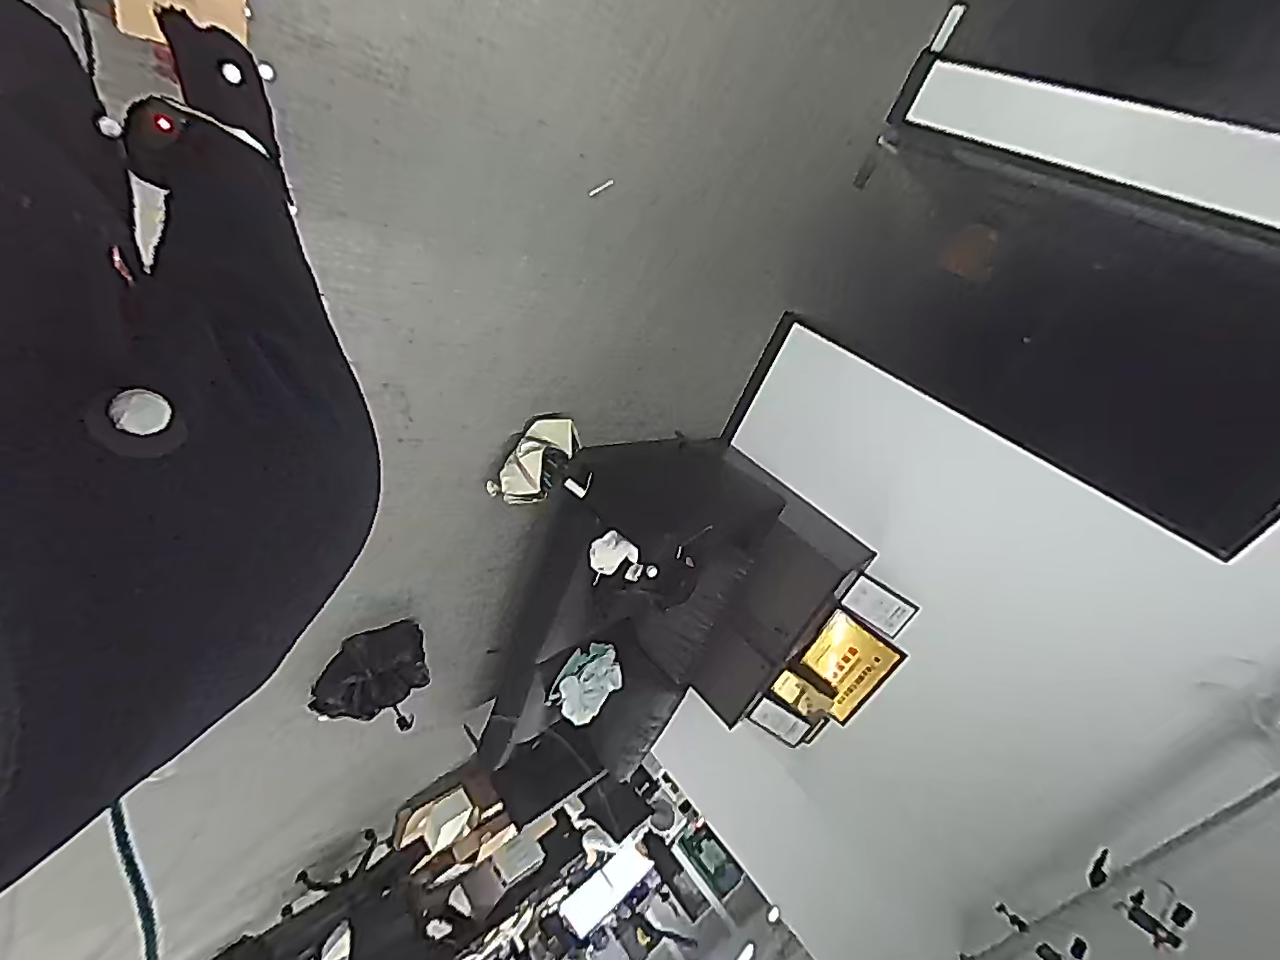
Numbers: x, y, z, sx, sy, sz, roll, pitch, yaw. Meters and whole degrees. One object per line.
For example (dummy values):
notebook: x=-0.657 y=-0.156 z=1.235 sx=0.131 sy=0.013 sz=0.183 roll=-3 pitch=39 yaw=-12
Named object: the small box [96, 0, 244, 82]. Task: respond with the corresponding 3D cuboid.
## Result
small box: x=-0.760 y=-0.790 z=0.871 sx=0.168 sy=0.176 sz=0.179 roll=-14 pitch=136 yaw=-46
